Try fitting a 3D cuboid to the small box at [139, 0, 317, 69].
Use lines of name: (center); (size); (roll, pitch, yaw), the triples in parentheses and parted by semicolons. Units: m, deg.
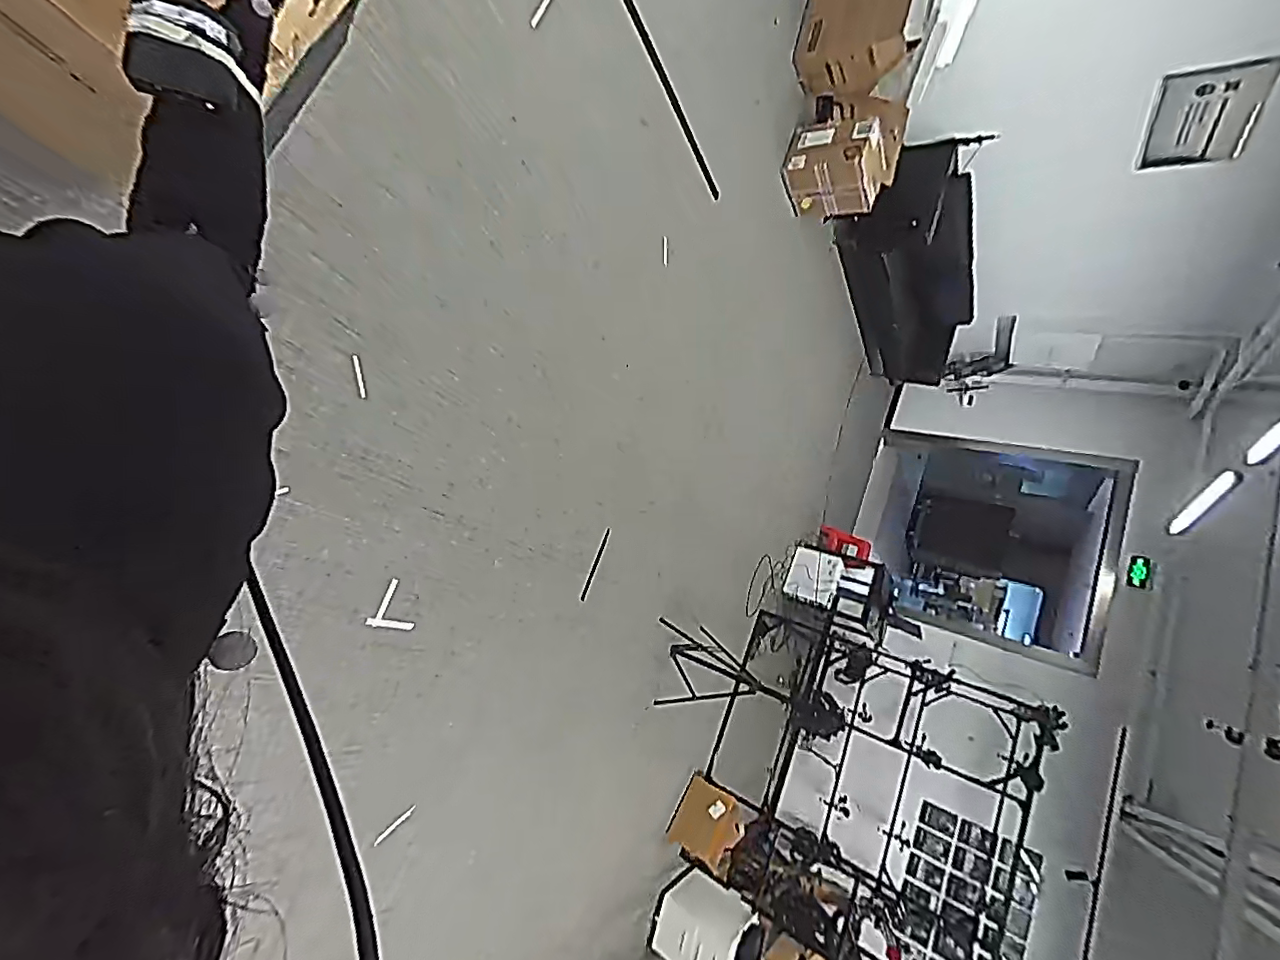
small box: (-0.480, -0.605, 0.605); (0.179, 0.176, 0.168); (40, 69, -51)
